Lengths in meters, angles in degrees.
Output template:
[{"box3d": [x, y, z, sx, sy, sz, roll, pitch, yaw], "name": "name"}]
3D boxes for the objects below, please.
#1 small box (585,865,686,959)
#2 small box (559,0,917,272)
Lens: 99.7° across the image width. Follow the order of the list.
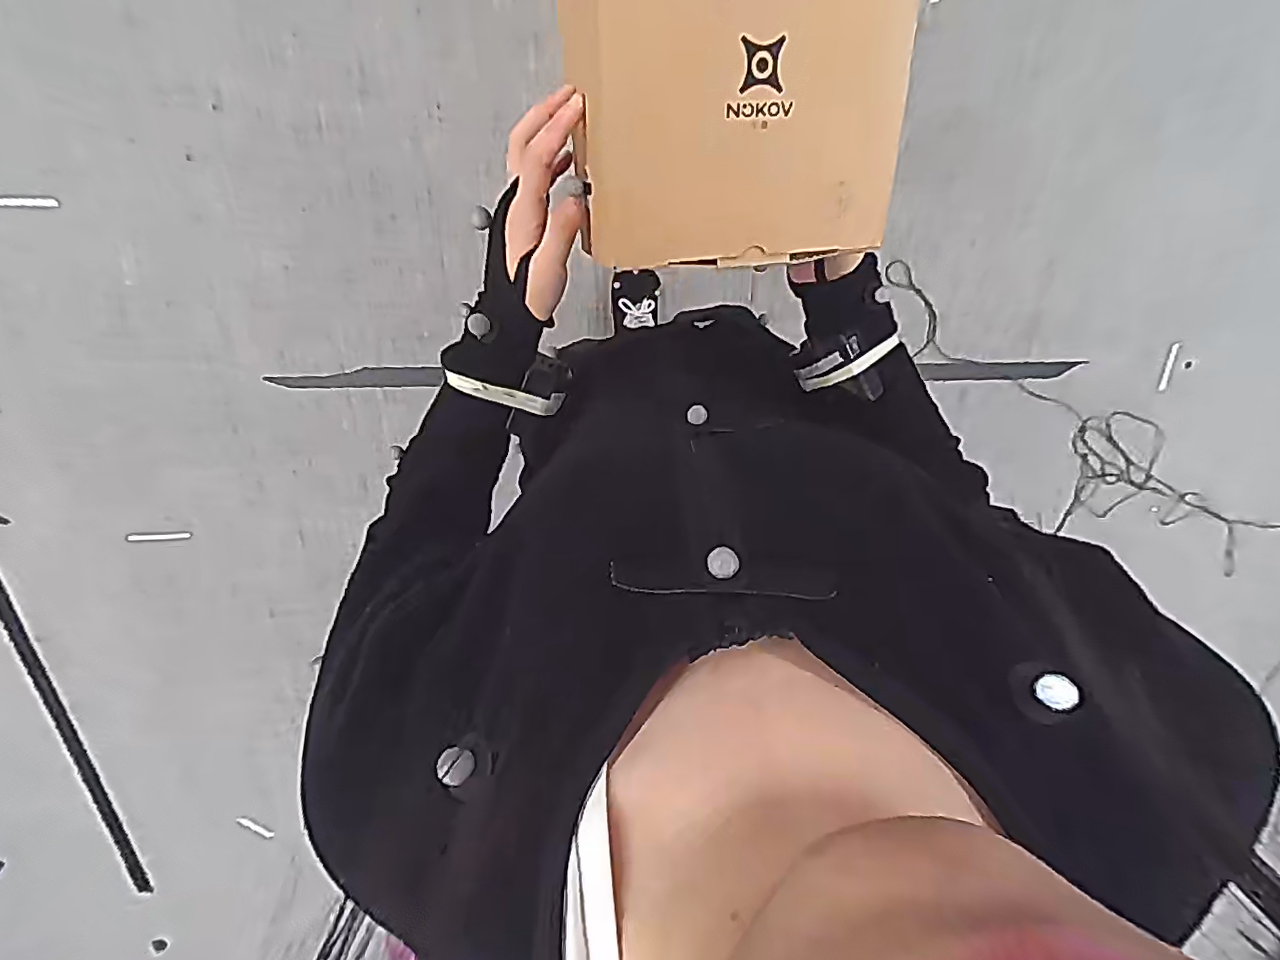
[{"box3d": [-0.014, 0.835, 0.981, 0.168, 0.176, 0.179, -3, 111, -5], "name": "small box"}, {"box3d": [0.045, -0.240, 0.345, 0.168, 0.176, 0.179, -9, 117, -10], "name": "small box"}]
